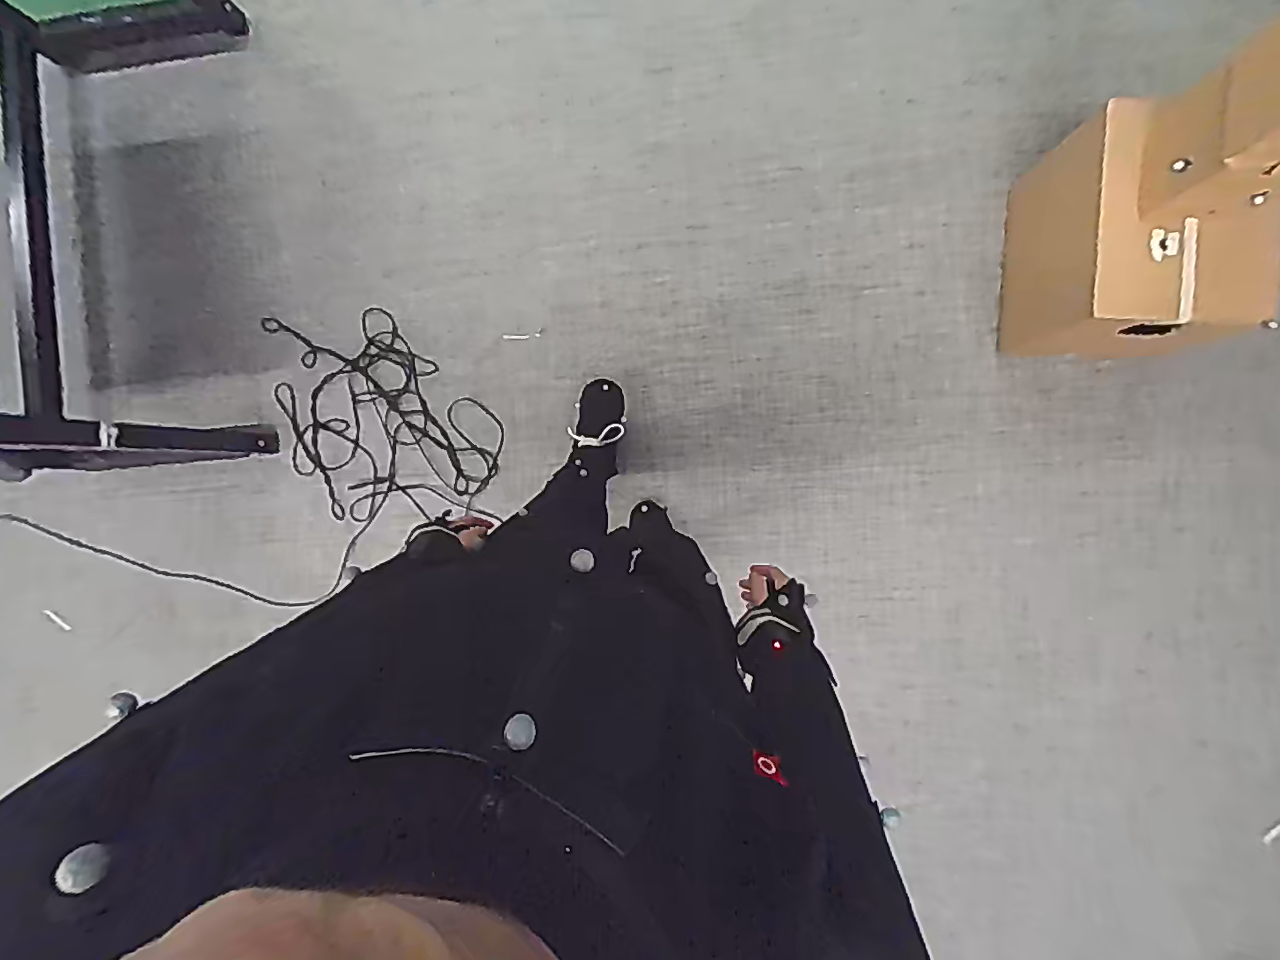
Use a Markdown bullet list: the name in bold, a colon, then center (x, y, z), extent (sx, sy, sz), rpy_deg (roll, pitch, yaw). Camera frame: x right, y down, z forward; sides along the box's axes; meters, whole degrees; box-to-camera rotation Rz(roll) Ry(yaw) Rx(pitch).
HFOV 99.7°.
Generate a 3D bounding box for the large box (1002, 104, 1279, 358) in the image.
- **large box**: center (1.007, -0.485, 1.127), extent (0.320, 0.320, 0.408), rpy_deg (2, 92, 6)

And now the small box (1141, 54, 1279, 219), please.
- **small box**: center (0.976, -0.550, 0.886), extent (0.168, 0.176, 0.179), rpy_deg (3, 90, 4)

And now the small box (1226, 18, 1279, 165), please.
- **small box**: center (0.956, -0.554, 0.724), extent (0.168, 0.176, 0.179), rpy_deg (5, 92, 4)
